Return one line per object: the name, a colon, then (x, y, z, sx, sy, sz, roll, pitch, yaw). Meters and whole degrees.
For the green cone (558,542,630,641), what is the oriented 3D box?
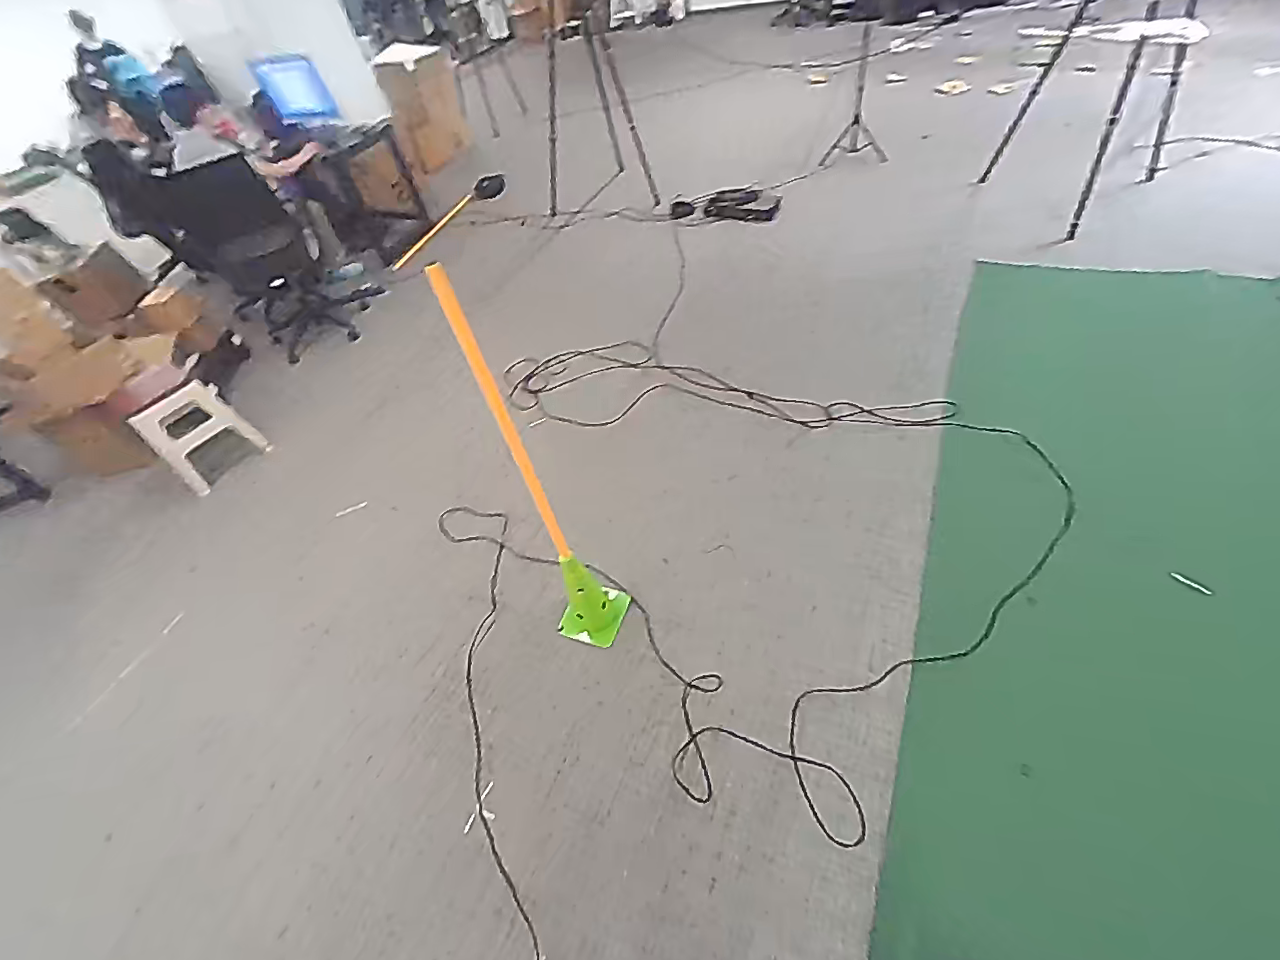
green cone: (-0.179, 0.315, 1.675, 0.200, 0.368, 0.202, 11, 51, 20)
